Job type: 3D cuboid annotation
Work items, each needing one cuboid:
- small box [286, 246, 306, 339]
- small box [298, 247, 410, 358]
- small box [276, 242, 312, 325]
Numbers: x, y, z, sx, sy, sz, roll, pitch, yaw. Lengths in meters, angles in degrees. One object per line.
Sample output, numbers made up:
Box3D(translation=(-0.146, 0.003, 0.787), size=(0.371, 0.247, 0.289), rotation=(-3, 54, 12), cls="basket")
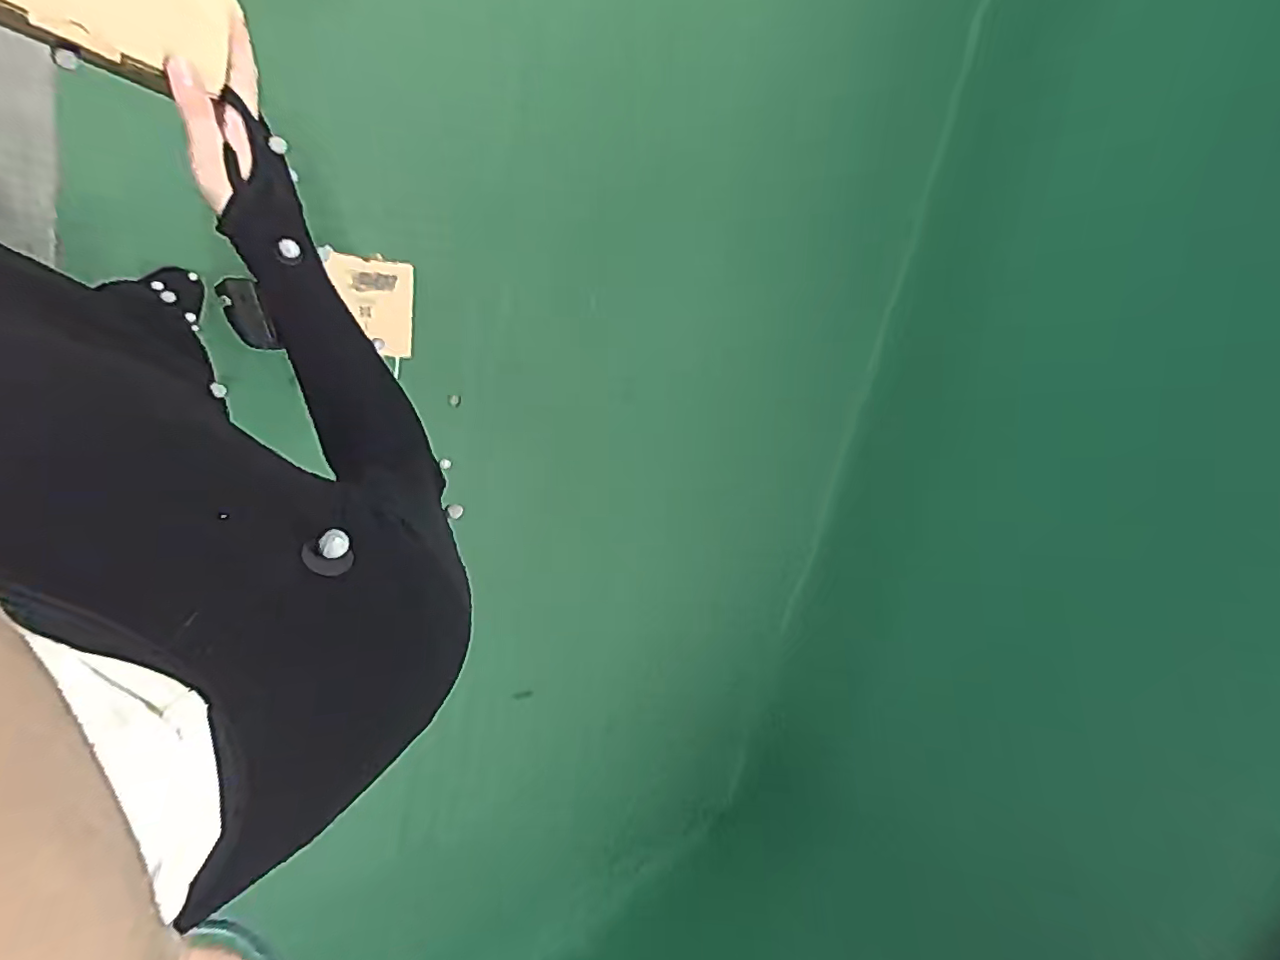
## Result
Box3D(translation=(-0.661, -0.395, 1.173), size=(0.168, 0.176, 0.179), rotation=(-1, 109, -39), cls="small box")
Box3D(translation=(-0.561, -0.345, 1.053), size=(0.168, 0.176, 0.179), rotation=(-3, 111, -38), cls="small box")
Box3D(translation=(-0.760, -0.453, 1.288), size=(0.168, 0.176, 0.179), rotation=(2, 107, -40), cls="small box")
